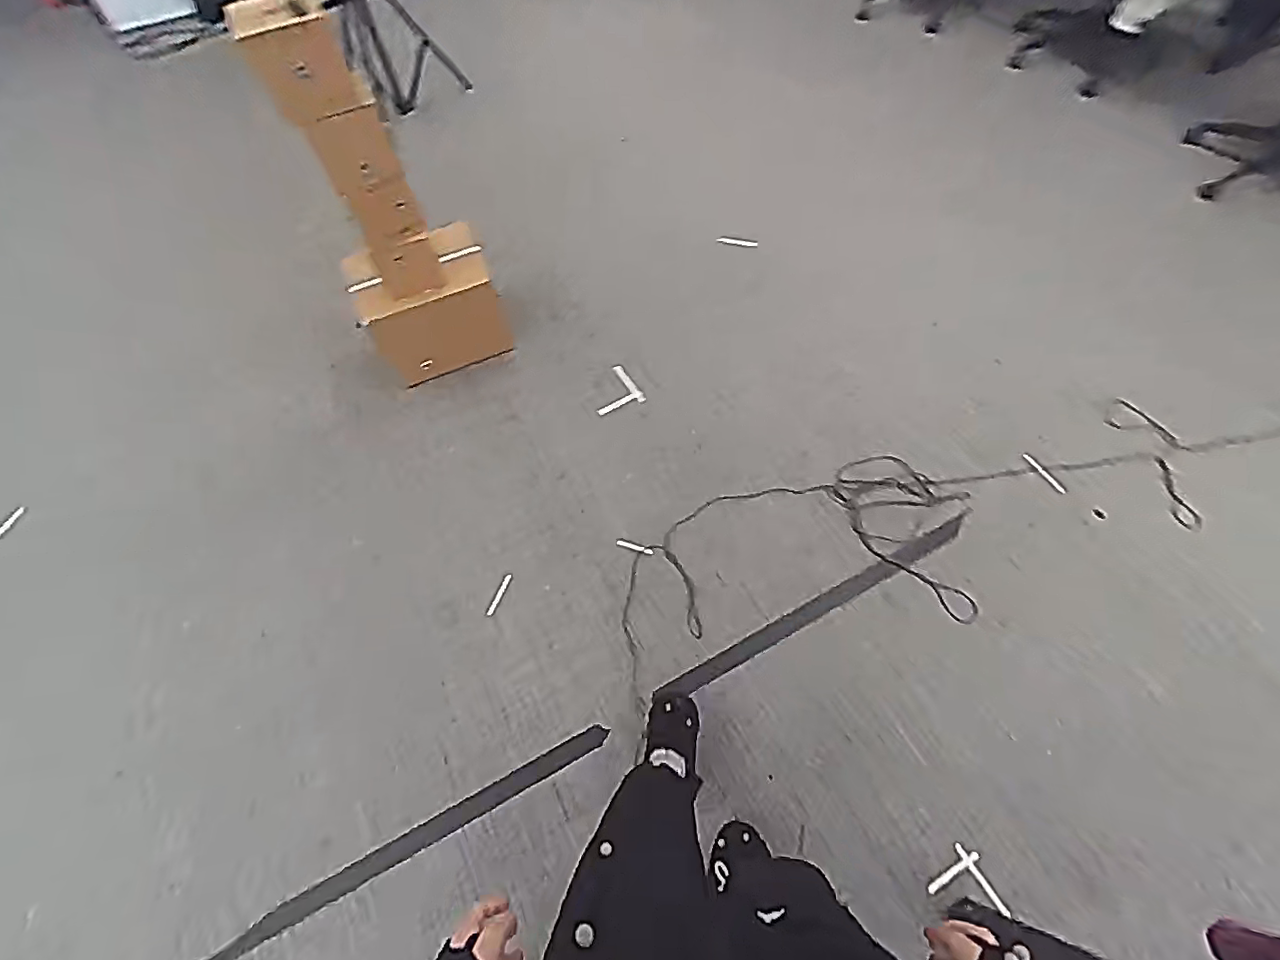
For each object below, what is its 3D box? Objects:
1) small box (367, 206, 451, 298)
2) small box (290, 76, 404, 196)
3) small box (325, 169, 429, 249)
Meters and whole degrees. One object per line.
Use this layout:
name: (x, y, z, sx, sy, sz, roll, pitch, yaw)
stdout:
small box: (-0.681, -0.665, 1.591, 0.179, 0.176, 0.168, -19, 63, -8)
small box: (-0.698, -0.829, 1.310, 0.179, 0.176, 0.168, -27, 64, -13)
small box: (-0.699, -0.751, 1.454, 0.168, 0.176, 0.179, -33, 65, -15)
